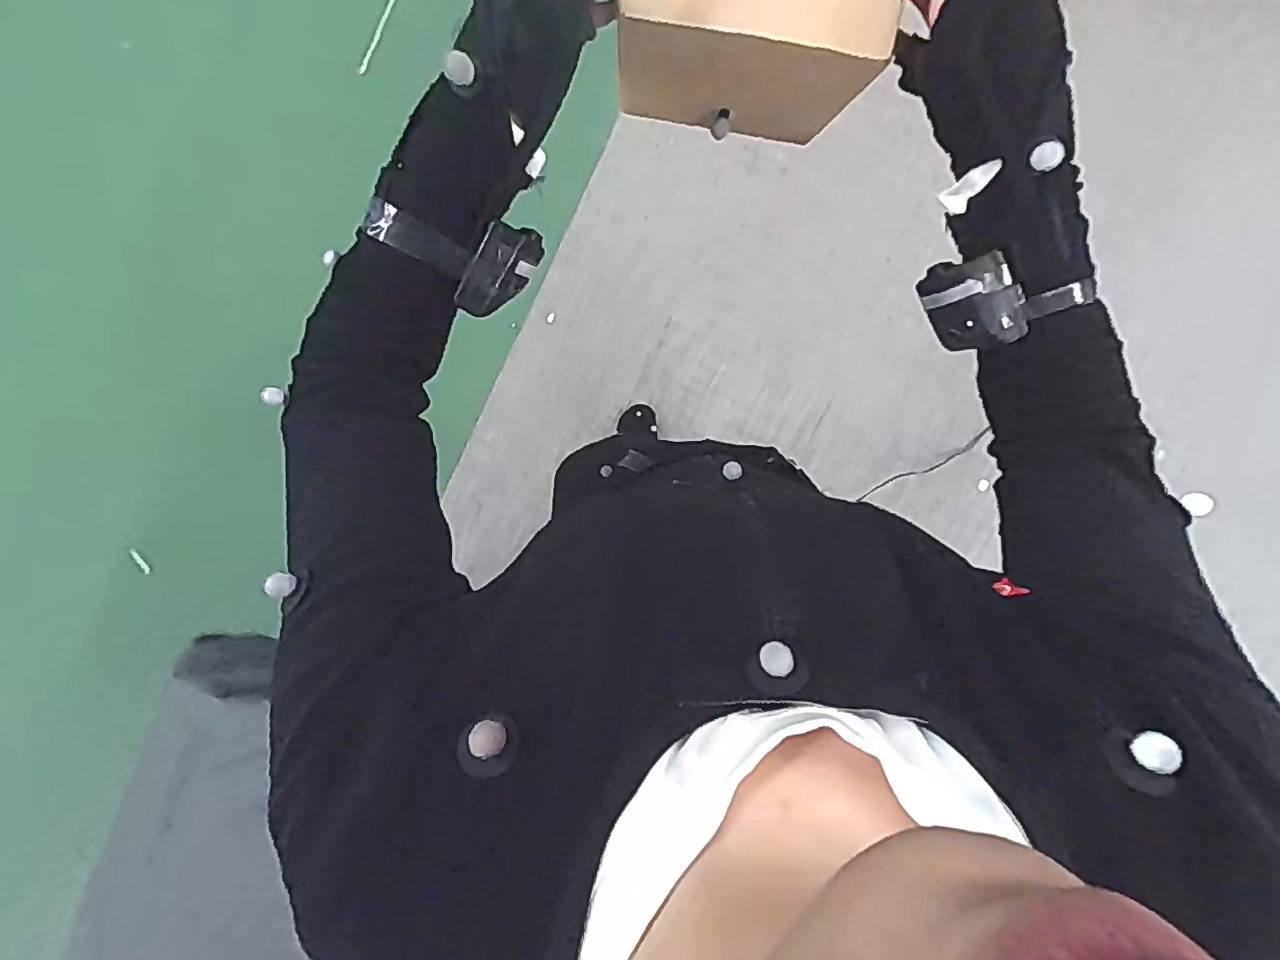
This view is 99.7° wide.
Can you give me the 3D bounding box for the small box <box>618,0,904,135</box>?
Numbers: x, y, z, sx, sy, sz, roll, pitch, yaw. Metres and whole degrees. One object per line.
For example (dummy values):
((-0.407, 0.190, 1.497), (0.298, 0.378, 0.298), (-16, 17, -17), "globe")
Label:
((0.082, -0.375, 0.391), (0.179, 0.176, 0.168), (7, 106, -5), "small box")
